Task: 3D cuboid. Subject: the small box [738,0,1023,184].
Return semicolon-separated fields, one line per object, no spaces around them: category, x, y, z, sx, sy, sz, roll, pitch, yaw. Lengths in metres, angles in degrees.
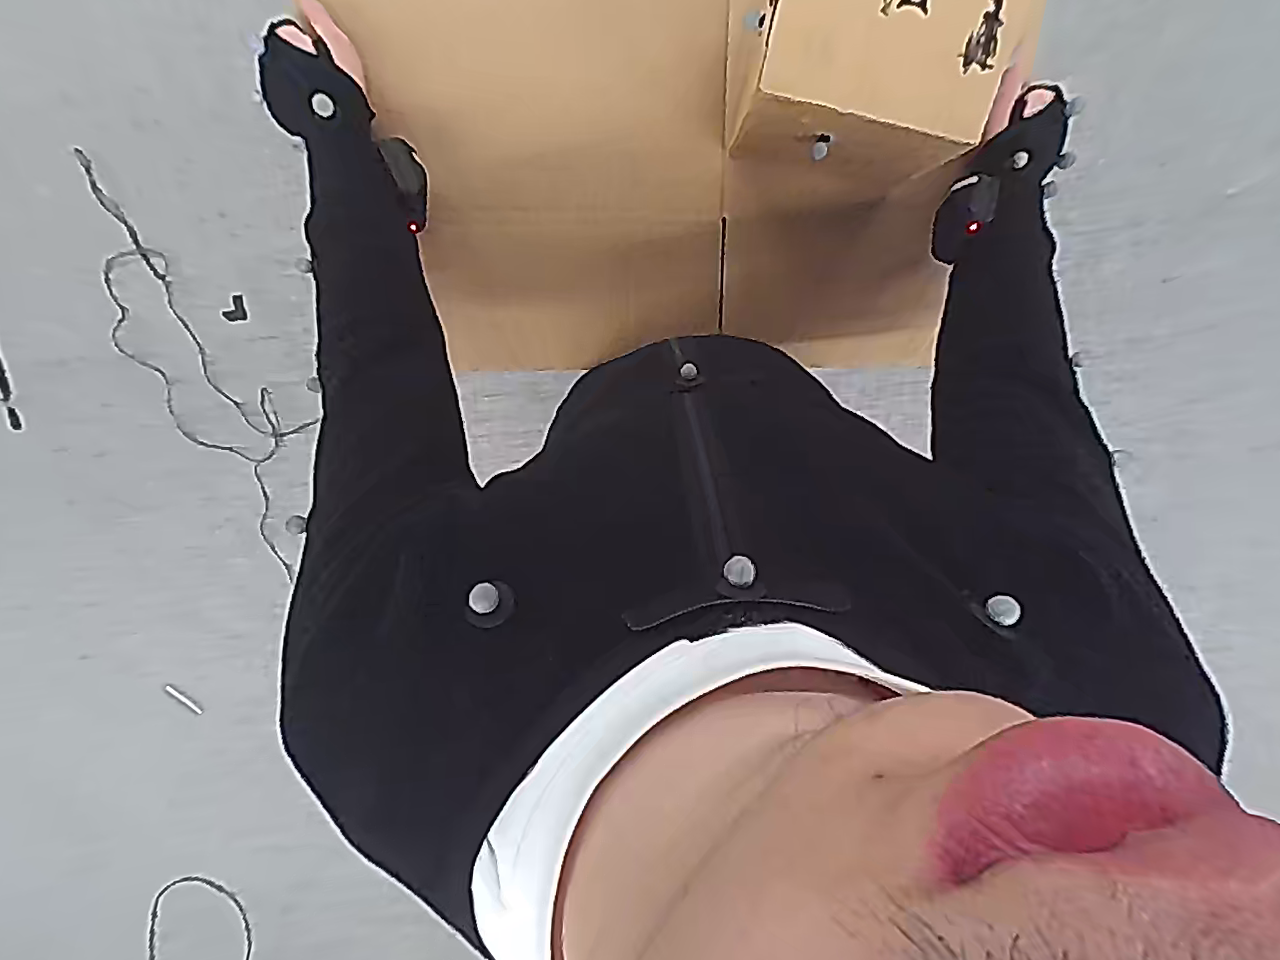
small box;0.193;-0.376;0.465;0.179;0.176;0.168;13;107;-1
